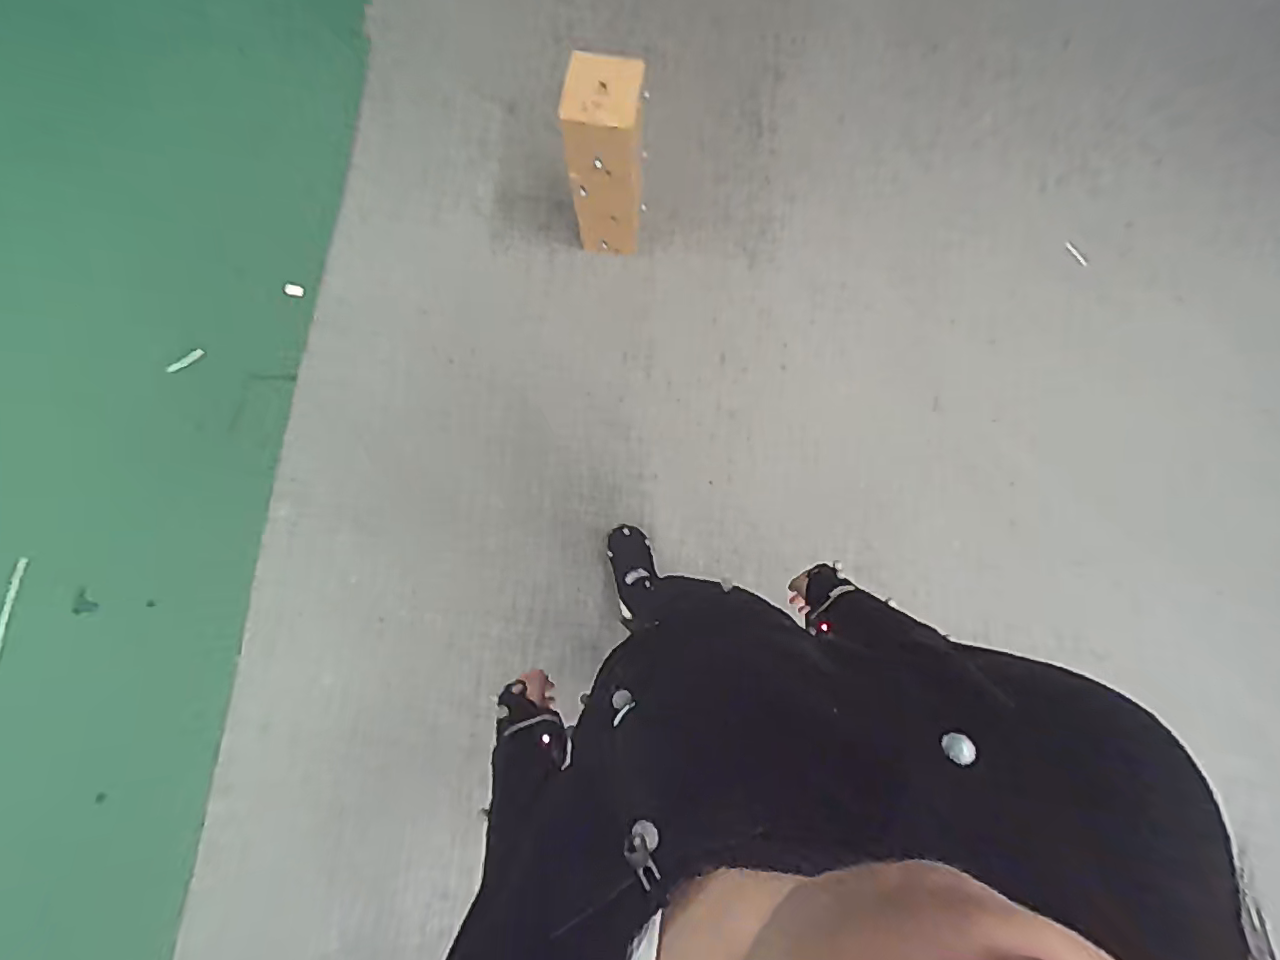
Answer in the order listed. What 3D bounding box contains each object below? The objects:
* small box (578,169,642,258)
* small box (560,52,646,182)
[{"bbox_3d":[-0.086,-0.789,1.594,0.168,0.176,0.179,6,81,0],"label":"small box"},{"bbox_3d":[-0.083,-0.845,1.270,0.168,0.176,0.179,10,81,1],"label":"small box"}]
